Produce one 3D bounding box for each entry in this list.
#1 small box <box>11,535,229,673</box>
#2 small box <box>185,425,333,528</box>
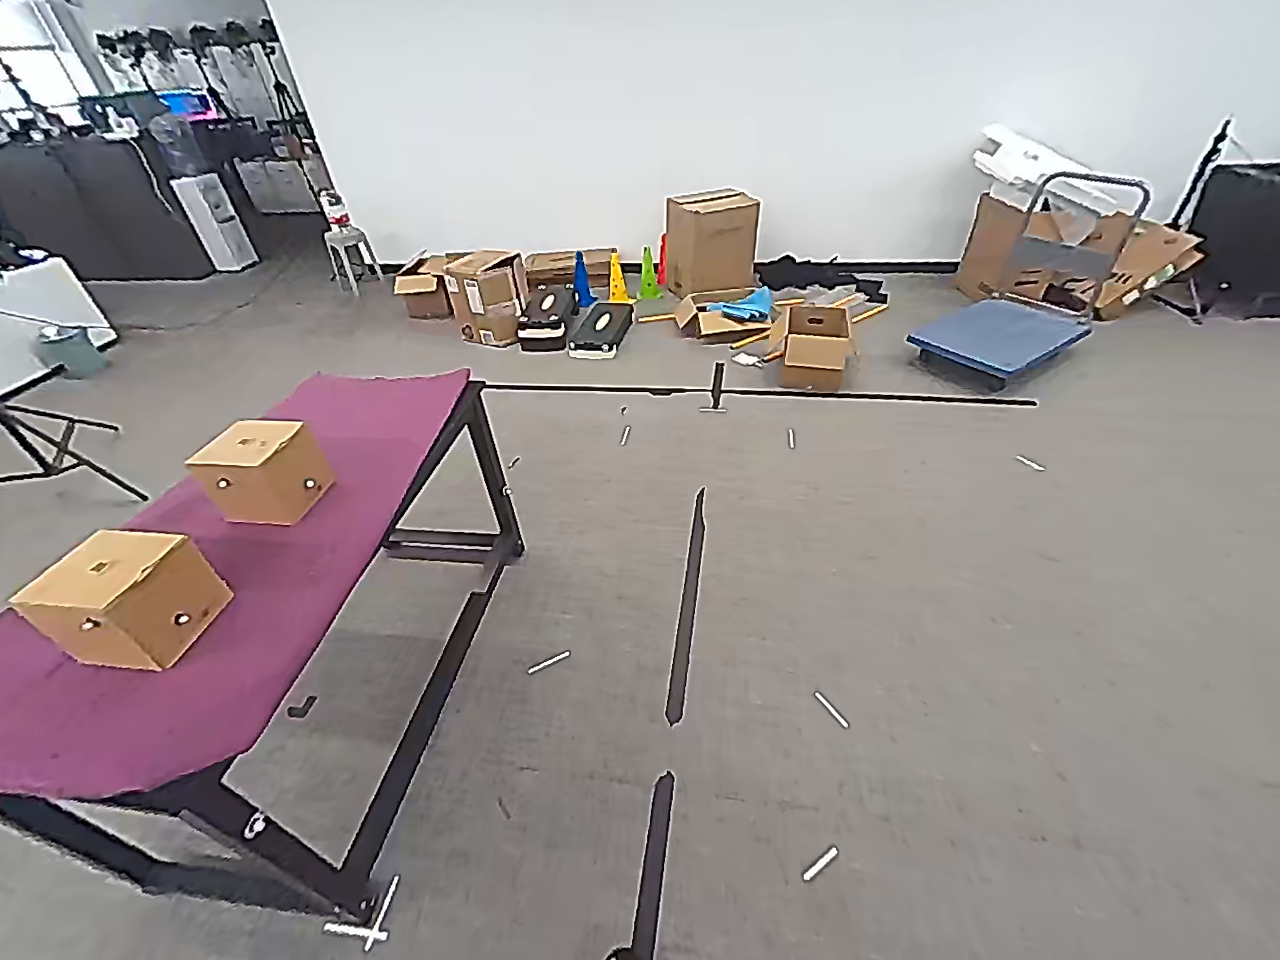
[{"bbox_3d":[-0.882,0.215,0.939,0.179,0.176,0.168,2,38,6],"label":"small box"},{"bbox_3d":[-0.839,-0.008,1.210,0.179,0.176,0.168,2,40,8],"label":"small box"}]
